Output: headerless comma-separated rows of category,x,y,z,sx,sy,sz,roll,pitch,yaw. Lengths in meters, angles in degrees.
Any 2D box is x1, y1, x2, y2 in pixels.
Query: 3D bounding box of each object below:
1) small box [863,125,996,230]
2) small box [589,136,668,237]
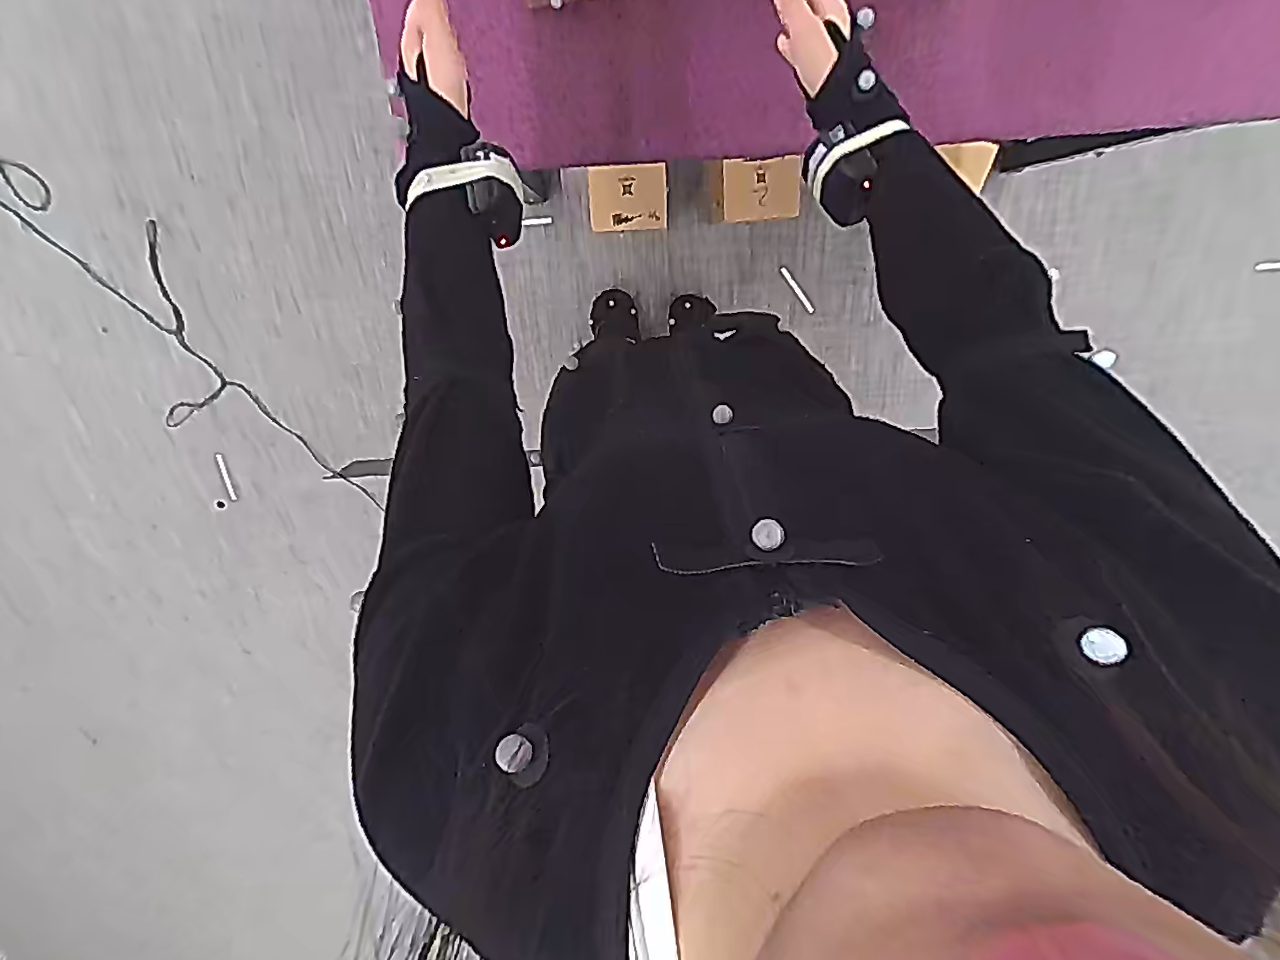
small box,0.645,-0.676,1.228,0.179,0.176,0.168,12,112,-6
small box,-0.028,-0.647,1.209,0.168,0.176,0.179,-2,110,-2
